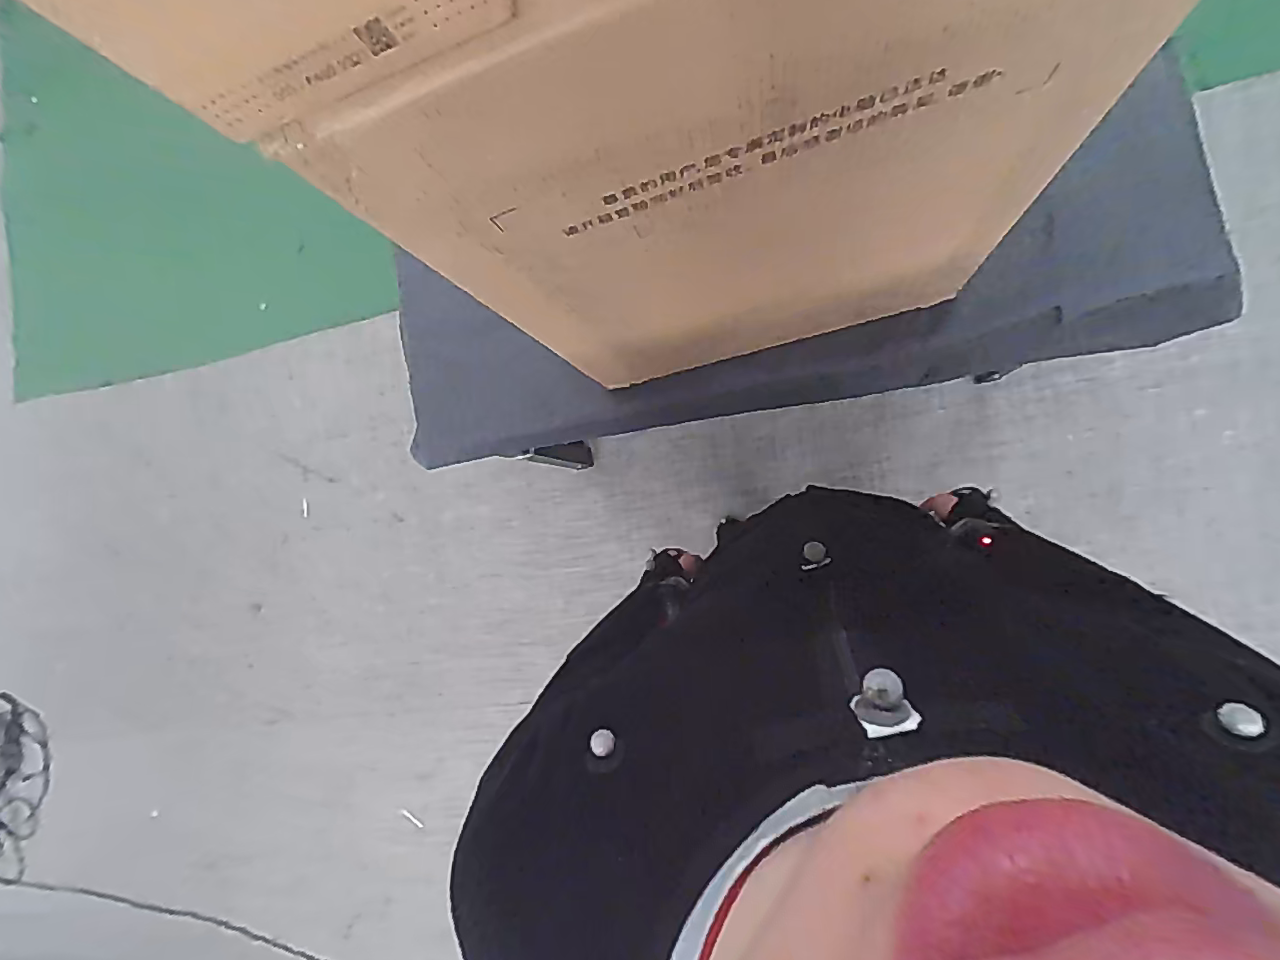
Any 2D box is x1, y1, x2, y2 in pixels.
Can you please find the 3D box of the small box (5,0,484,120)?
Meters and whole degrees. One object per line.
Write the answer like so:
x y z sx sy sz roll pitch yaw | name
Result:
-0.177 -0.275 0.197 0.168 0.176 0.179 -12 86 15 | small box
